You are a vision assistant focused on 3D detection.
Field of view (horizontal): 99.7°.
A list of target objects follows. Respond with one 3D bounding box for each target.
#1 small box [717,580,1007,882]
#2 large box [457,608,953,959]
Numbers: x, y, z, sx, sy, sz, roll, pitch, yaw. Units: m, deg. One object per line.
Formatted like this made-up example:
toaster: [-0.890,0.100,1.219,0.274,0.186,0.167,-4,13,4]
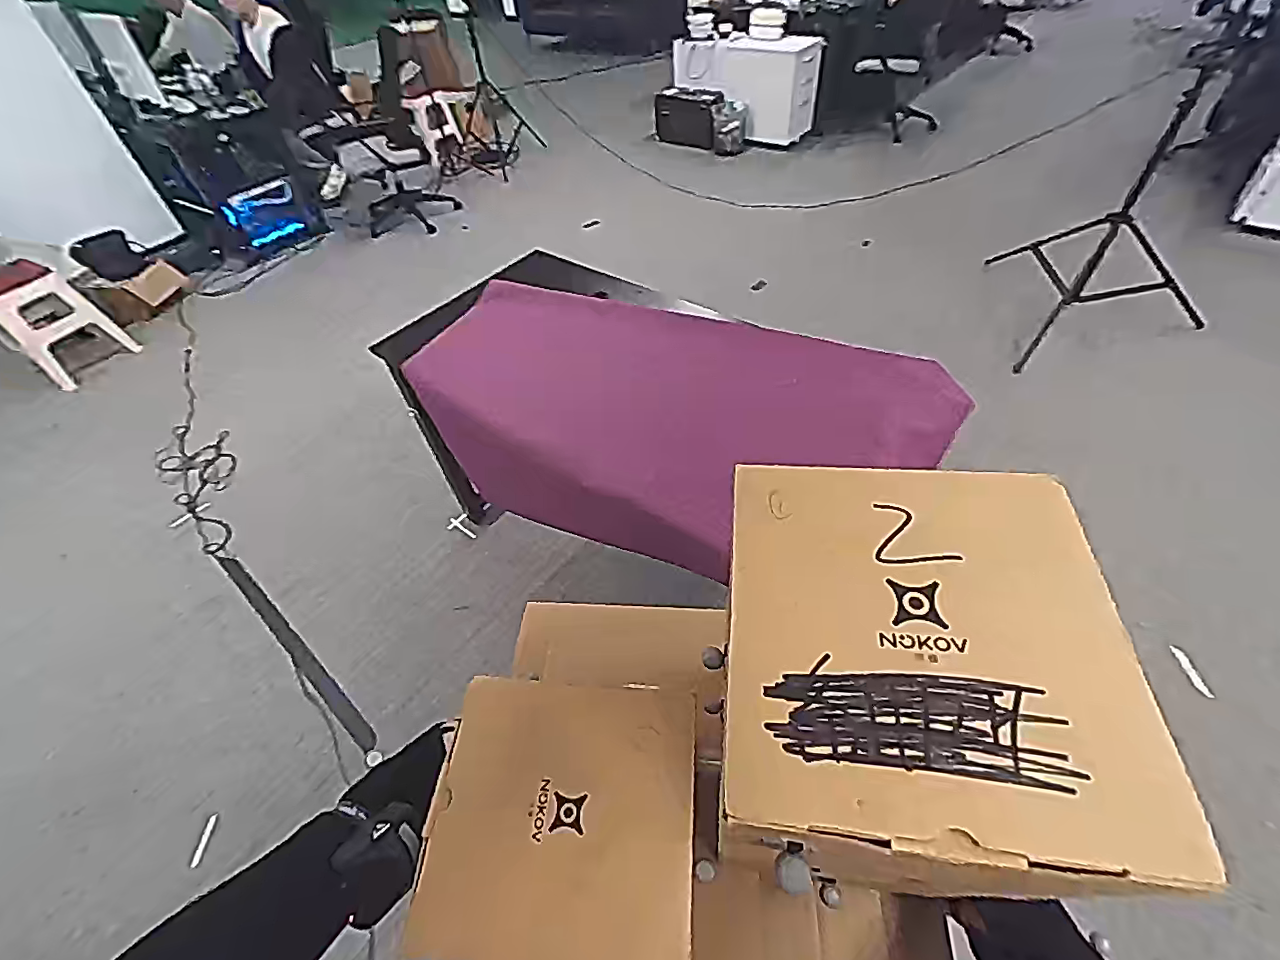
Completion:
small box: [0.148,0.200,0.432,0.168,0.176,0.179,1,52,10]
large box: [0.067,0.357,0.635,0.408,0.320,0.320,-1,51,7]
